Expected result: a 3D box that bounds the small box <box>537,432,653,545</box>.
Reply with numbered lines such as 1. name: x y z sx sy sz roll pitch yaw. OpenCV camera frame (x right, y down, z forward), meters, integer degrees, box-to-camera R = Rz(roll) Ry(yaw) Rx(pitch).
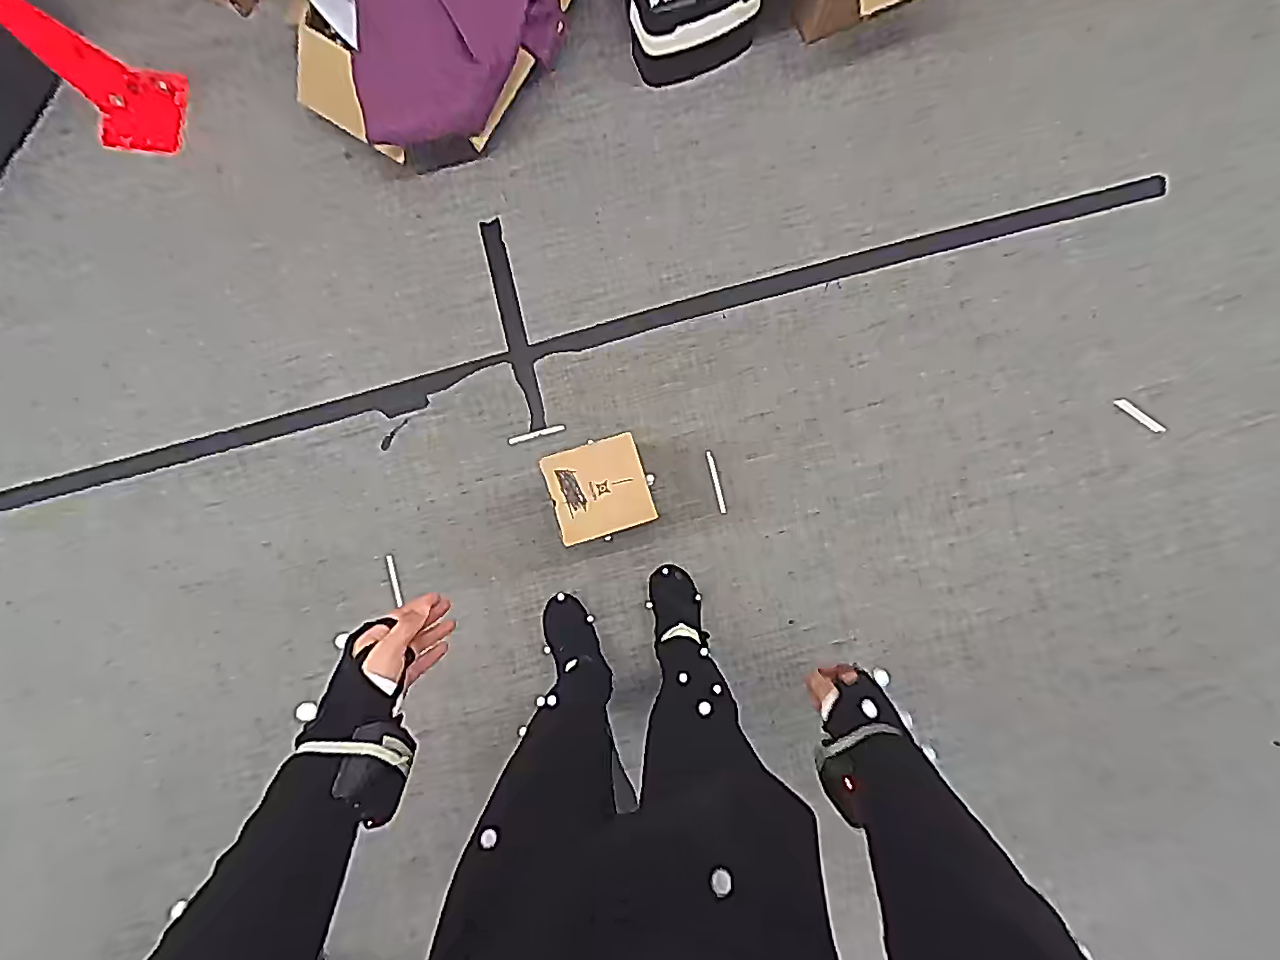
1. small box: -0.079 0.019 1.034 0.179 0.176 0.168 -17 88 -1
